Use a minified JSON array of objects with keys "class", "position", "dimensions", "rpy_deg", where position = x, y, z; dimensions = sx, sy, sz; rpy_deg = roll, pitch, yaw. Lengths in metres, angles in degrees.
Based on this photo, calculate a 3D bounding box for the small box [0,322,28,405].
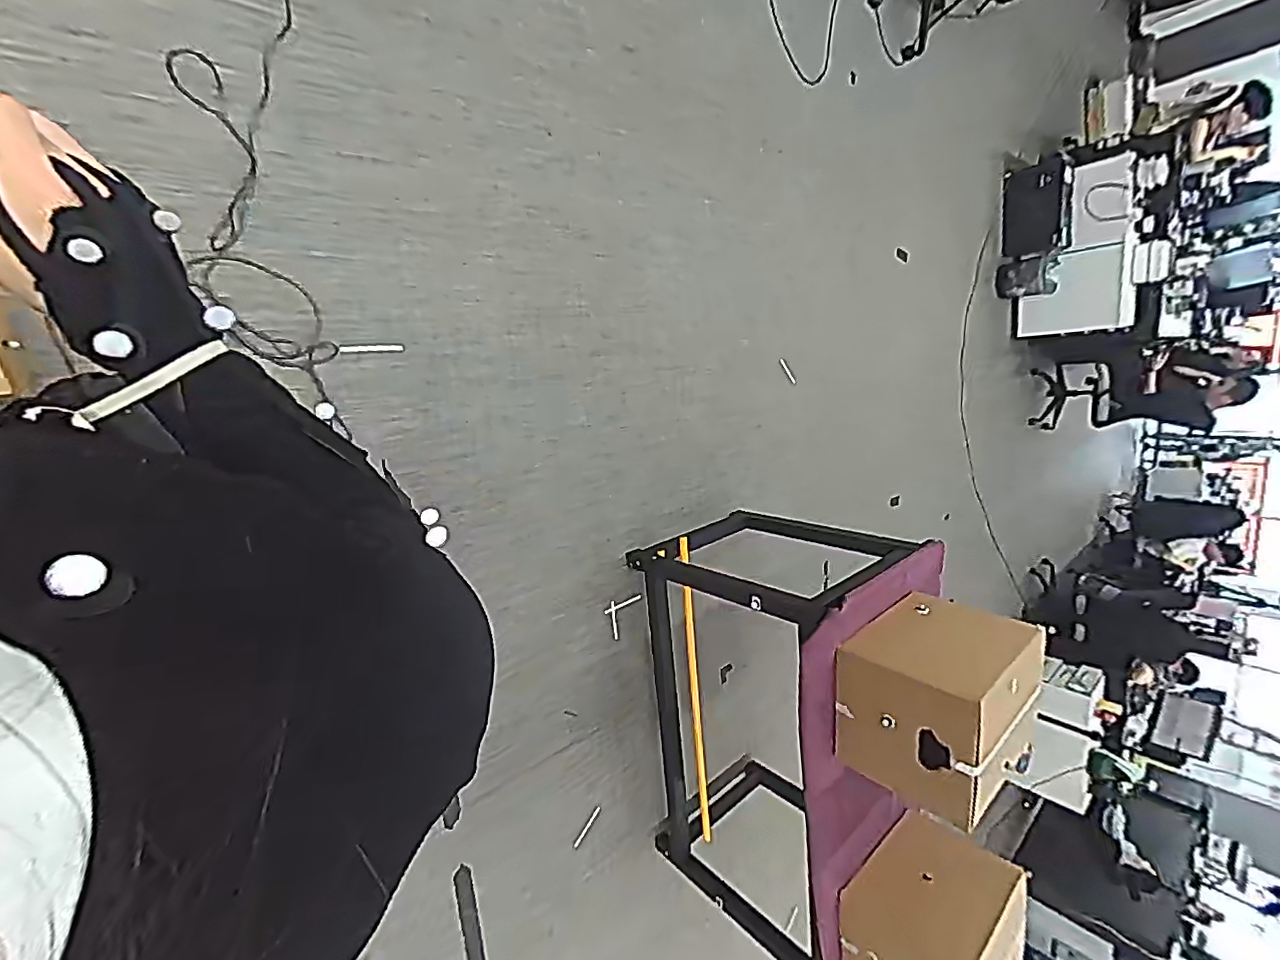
[{"class":"small box","position":[-1.065,-0.192,0.795],"dimensions":[0.168,0.176,0.179],"rpy_deg":[-19,108,-36]}]

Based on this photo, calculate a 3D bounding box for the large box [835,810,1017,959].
[{"class":"large box","position":[0.769,1.206,1.453],"dimensions":[0.408,0.320,0.320],"rpy_deg":[-15,105,-39]}]
